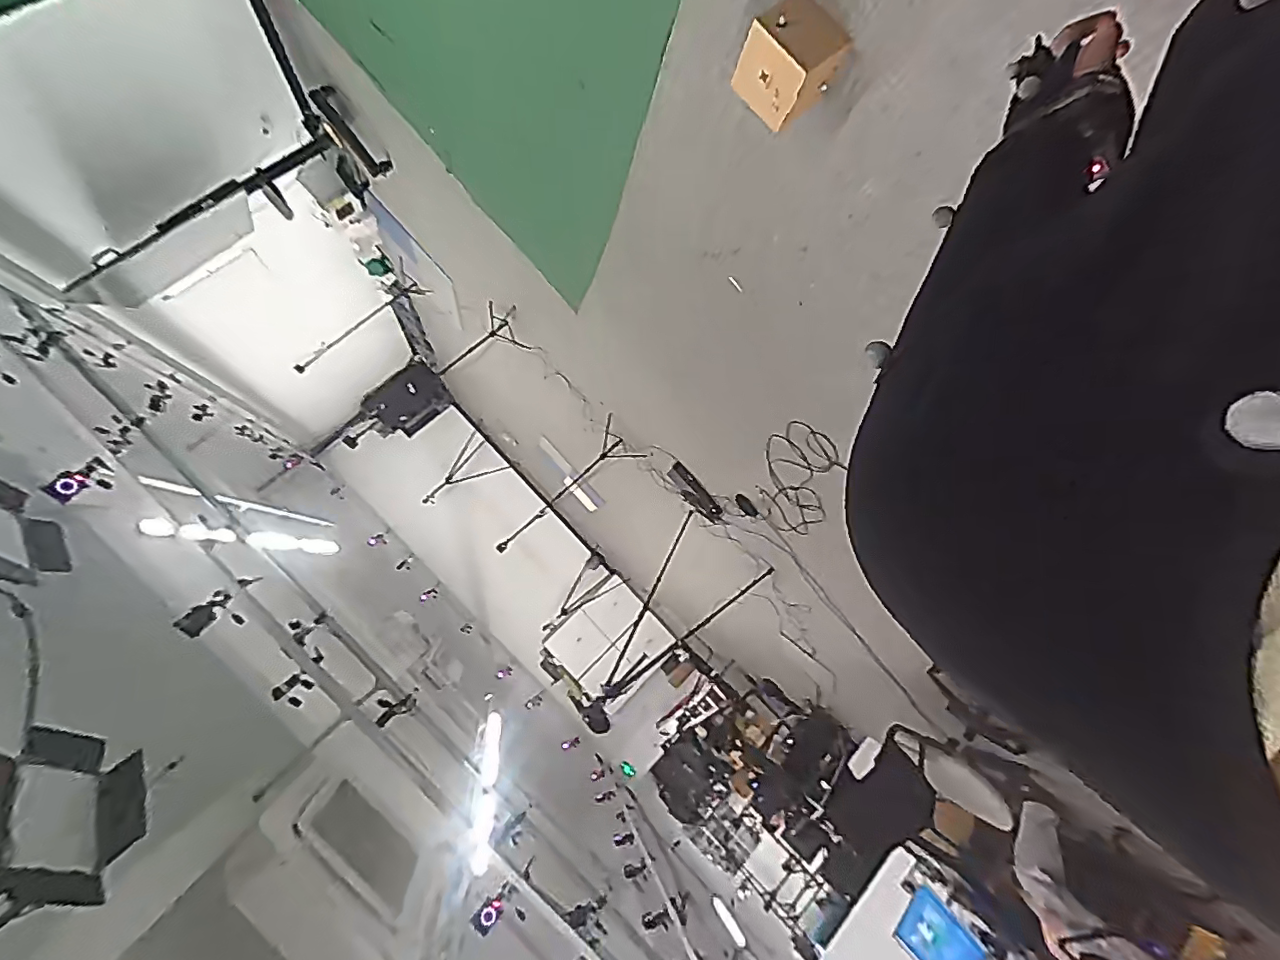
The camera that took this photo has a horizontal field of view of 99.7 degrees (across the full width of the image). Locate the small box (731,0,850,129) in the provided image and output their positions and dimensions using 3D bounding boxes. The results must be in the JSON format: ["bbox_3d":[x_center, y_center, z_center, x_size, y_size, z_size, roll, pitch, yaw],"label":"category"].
[{"bbox_3d":[0.356,-1.000,1.288,0.179,0.176,0.168,47,164,1],"label":"small box"}]
